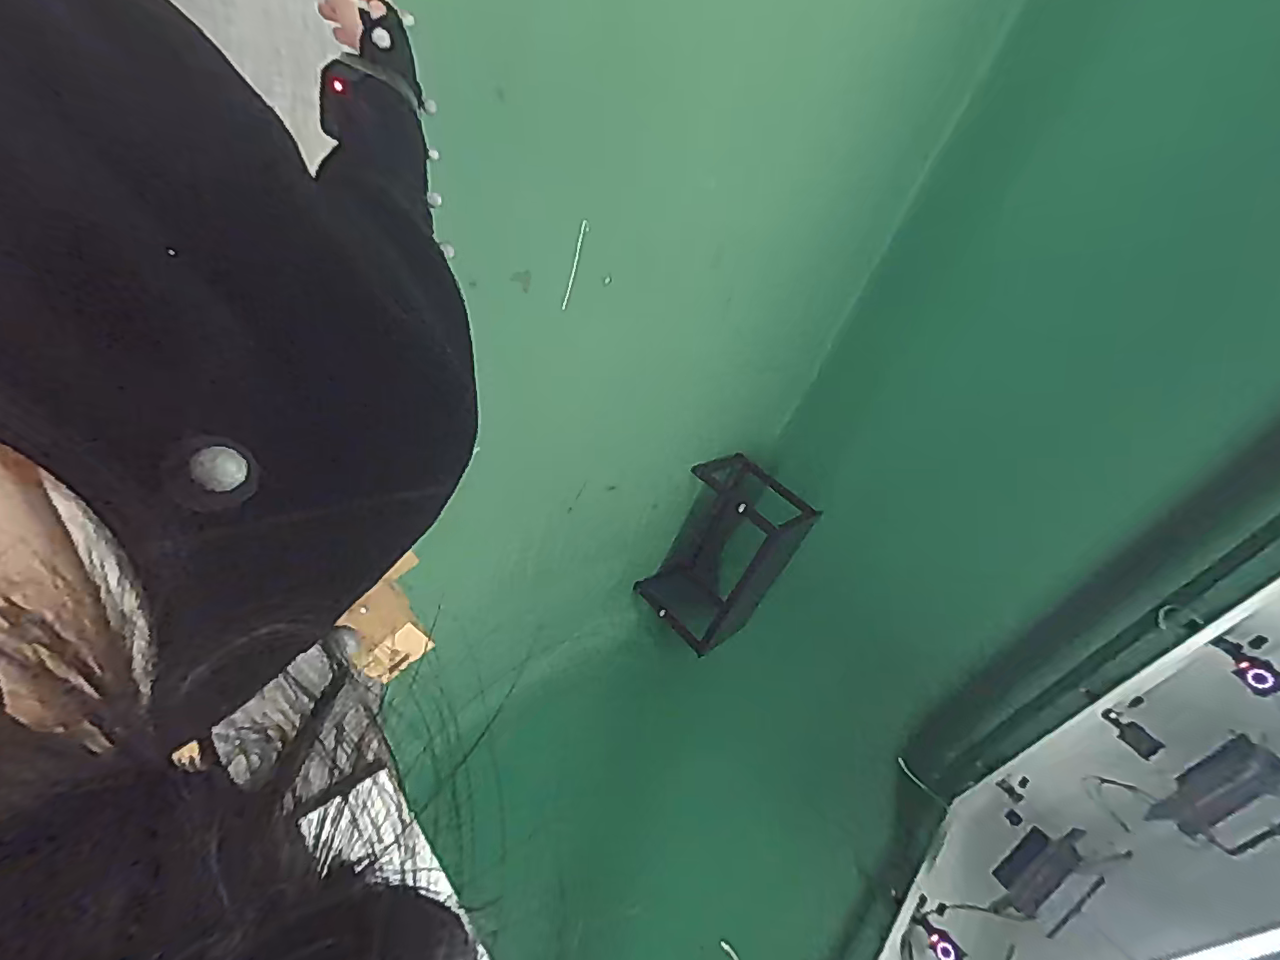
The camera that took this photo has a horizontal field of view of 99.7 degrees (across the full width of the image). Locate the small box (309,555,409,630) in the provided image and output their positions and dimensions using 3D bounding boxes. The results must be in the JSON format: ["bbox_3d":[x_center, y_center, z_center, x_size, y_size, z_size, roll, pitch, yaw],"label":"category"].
[{"bbox_3d":[-0.824,0.351,1.588,0.168,0.176,0.179,-41,151,-16],"label":"small box"}]

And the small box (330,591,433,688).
[{"bbox_3d":[-0.715,0.439,1.501,0.168,0.176,0.179,-38,149,-21],"label":"small box"}]
